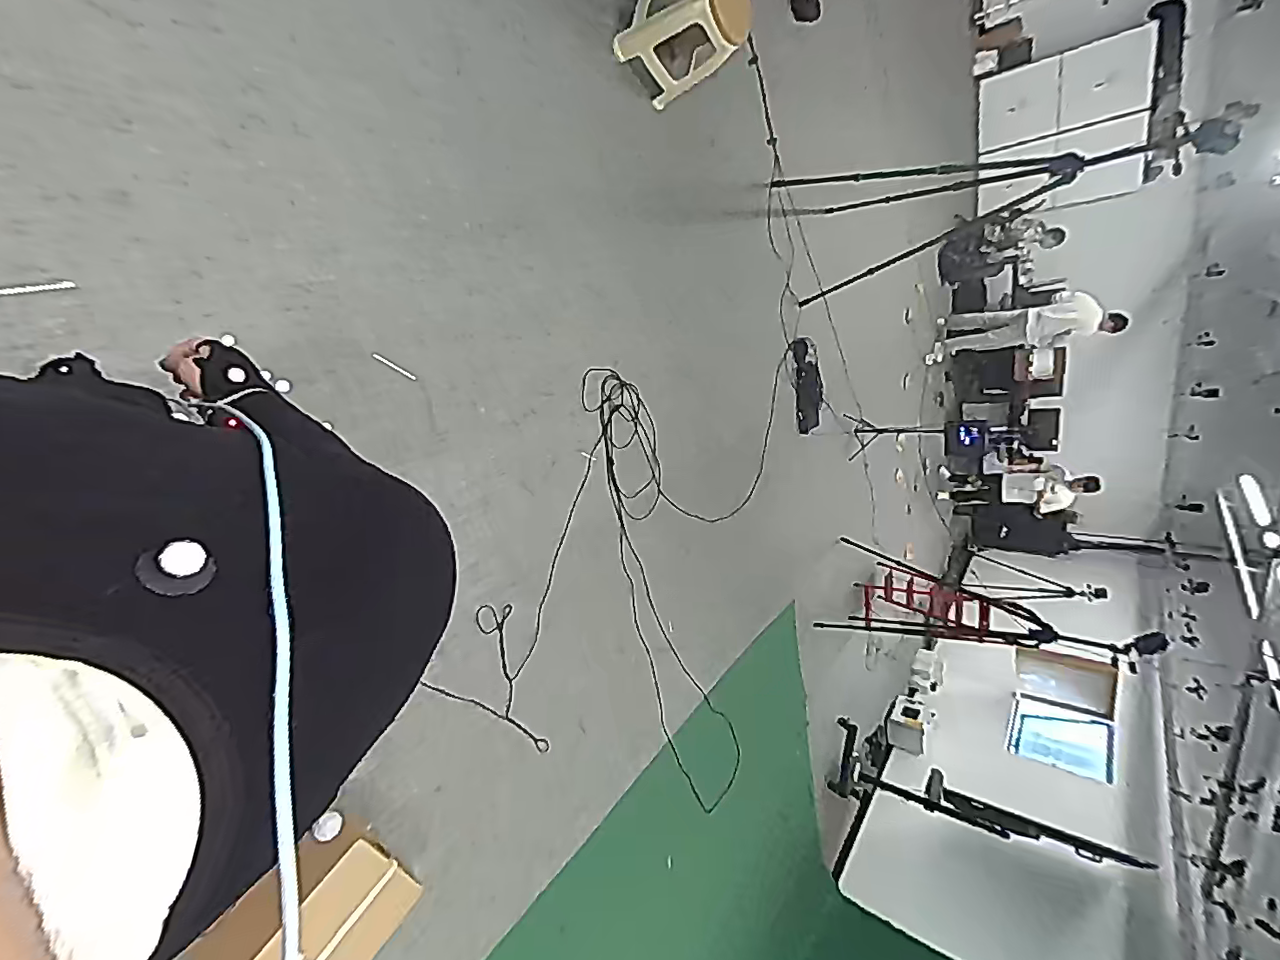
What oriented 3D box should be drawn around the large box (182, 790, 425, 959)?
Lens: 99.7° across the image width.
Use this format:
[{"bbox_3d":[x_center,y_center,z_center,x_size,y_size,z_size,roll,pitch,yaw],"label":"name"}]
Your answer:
[{"bbox_3d":[-0.876,1.144,1.437,0.408,0.320,0.320,-47,126,-35],"label":"large box"}]
